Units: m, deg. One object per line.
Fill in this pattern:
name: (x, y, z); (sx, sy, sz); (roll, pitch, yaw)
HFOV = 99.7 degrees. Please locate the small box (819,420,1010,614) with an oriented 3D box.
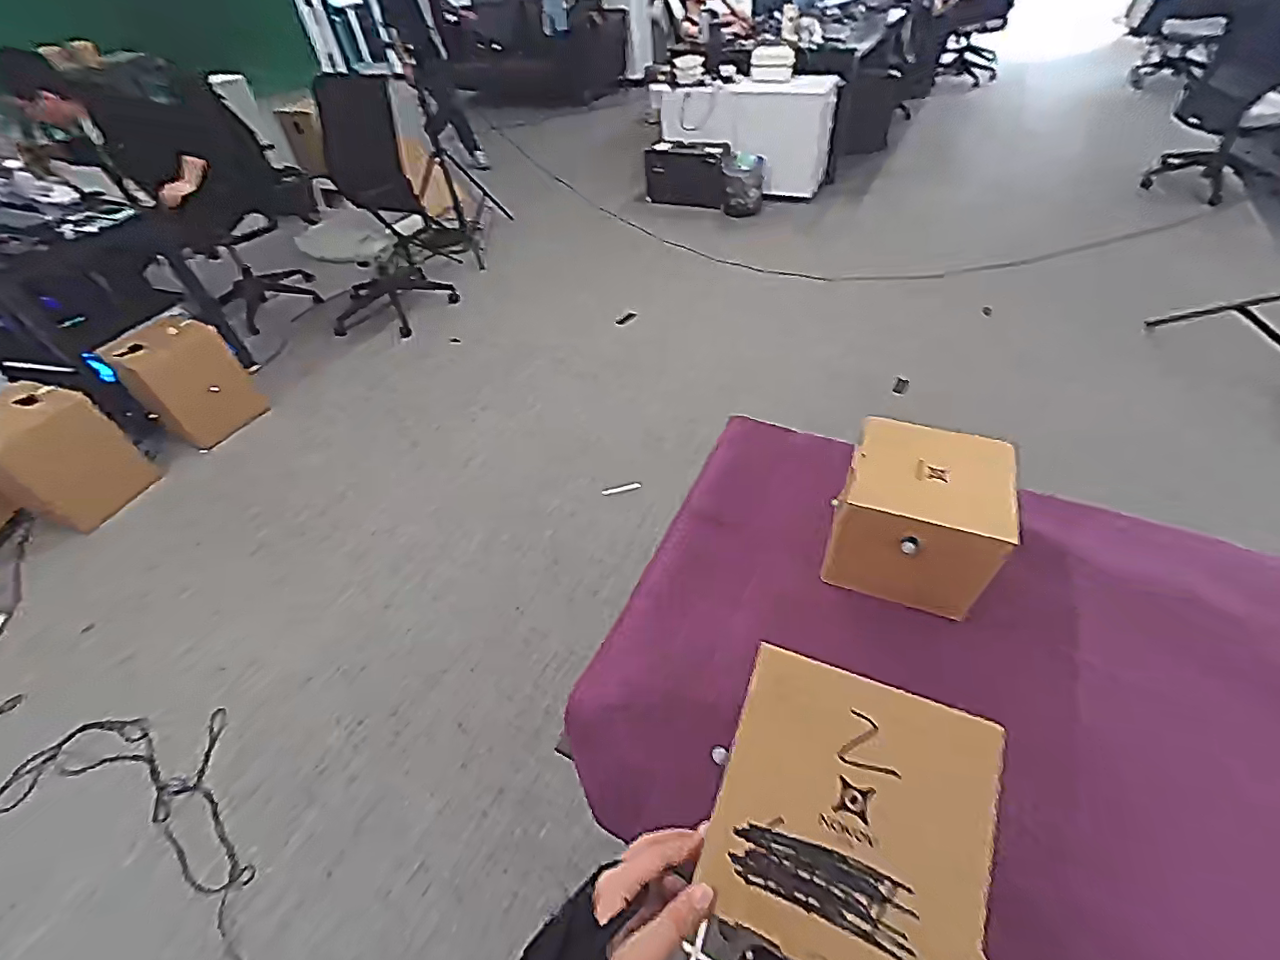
small box: (0.350, 0.051, 0.707); (0.179, 0.176, 0.168); (14, 49, 19)
